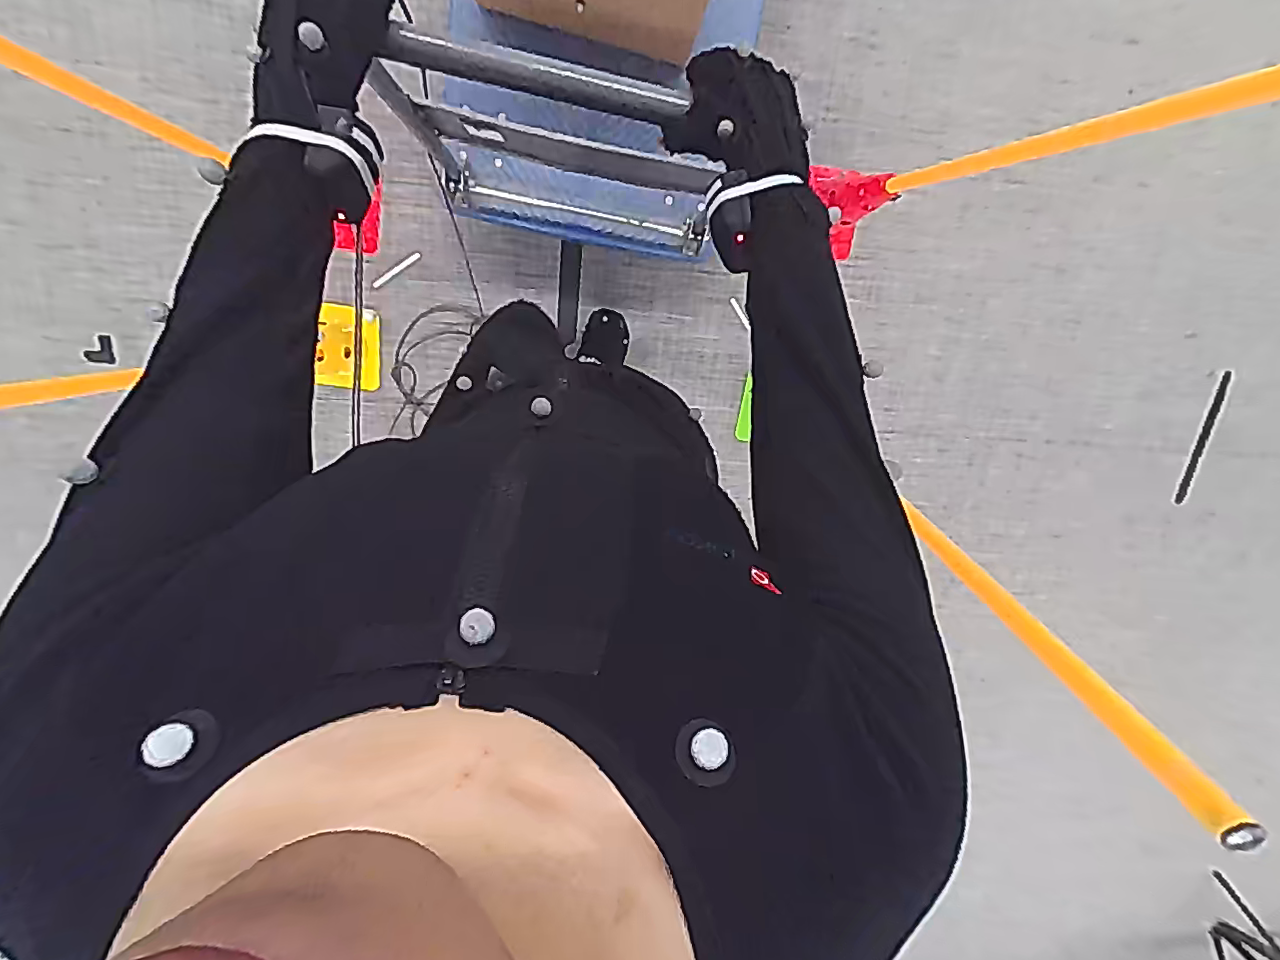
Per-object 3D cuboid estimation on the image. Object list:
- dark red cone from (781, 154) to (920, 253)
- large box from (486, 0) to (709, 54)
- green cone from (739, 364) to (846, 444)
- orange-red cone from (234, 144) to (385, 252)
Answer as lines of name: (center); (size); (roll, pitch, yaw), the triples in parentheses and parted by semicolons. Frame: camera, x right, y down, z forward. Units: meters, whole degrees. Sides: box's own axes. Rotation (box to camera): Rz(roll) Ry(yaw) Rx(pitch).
dark red cone: (0.451, -0.600, 1.122); (0.201, 0.394, 0.202); (3, 109, -6)
large box: (-0.062, -0.947, 0.844); (0.408, 0.320, 0.320); (11, 108, -6)
green cone: (0.389, -0.148, 1.288); (0.202, 0.368, 0.200); (7, 108, -7)
orange-red cone: (-0.682, -0.595, 1.082); (0.198, 0.360, 0.199); (11, 106, -8)
